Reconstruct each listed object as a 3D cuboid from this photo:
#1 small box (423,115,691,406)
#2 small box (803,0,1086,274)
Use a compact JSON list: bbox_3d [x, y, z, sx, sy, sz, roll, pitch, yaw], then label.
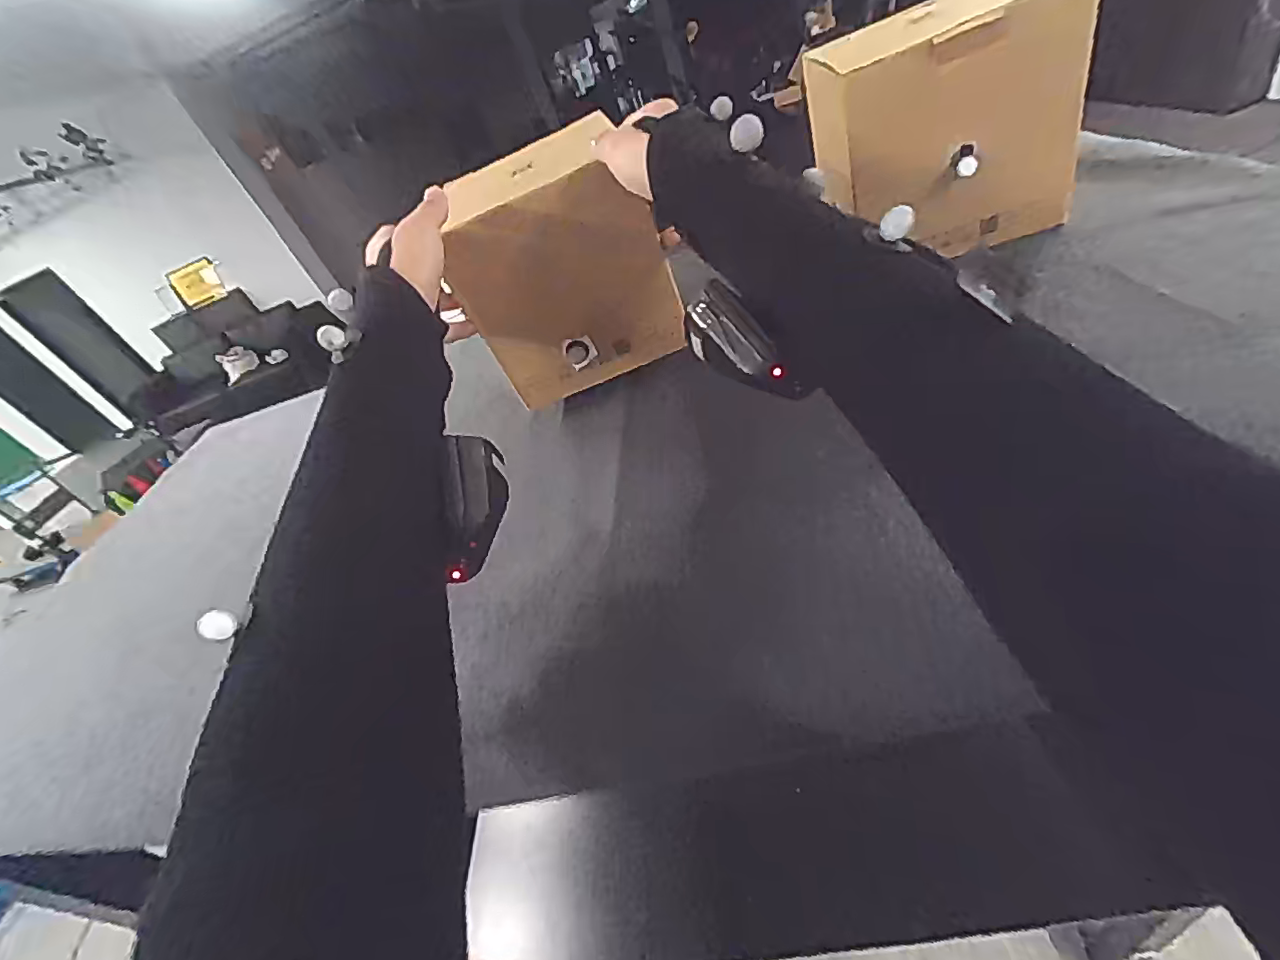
[{"bbox_3d":[-0.067,-0.198,0.494,0.168,0.176,0.179,-22,41,6],"label":"small box"},{"bbox_3d":[0.256,-0.309,0.489,0.168,0.176,0.179,-13,40,15],"label":"small box"}]
